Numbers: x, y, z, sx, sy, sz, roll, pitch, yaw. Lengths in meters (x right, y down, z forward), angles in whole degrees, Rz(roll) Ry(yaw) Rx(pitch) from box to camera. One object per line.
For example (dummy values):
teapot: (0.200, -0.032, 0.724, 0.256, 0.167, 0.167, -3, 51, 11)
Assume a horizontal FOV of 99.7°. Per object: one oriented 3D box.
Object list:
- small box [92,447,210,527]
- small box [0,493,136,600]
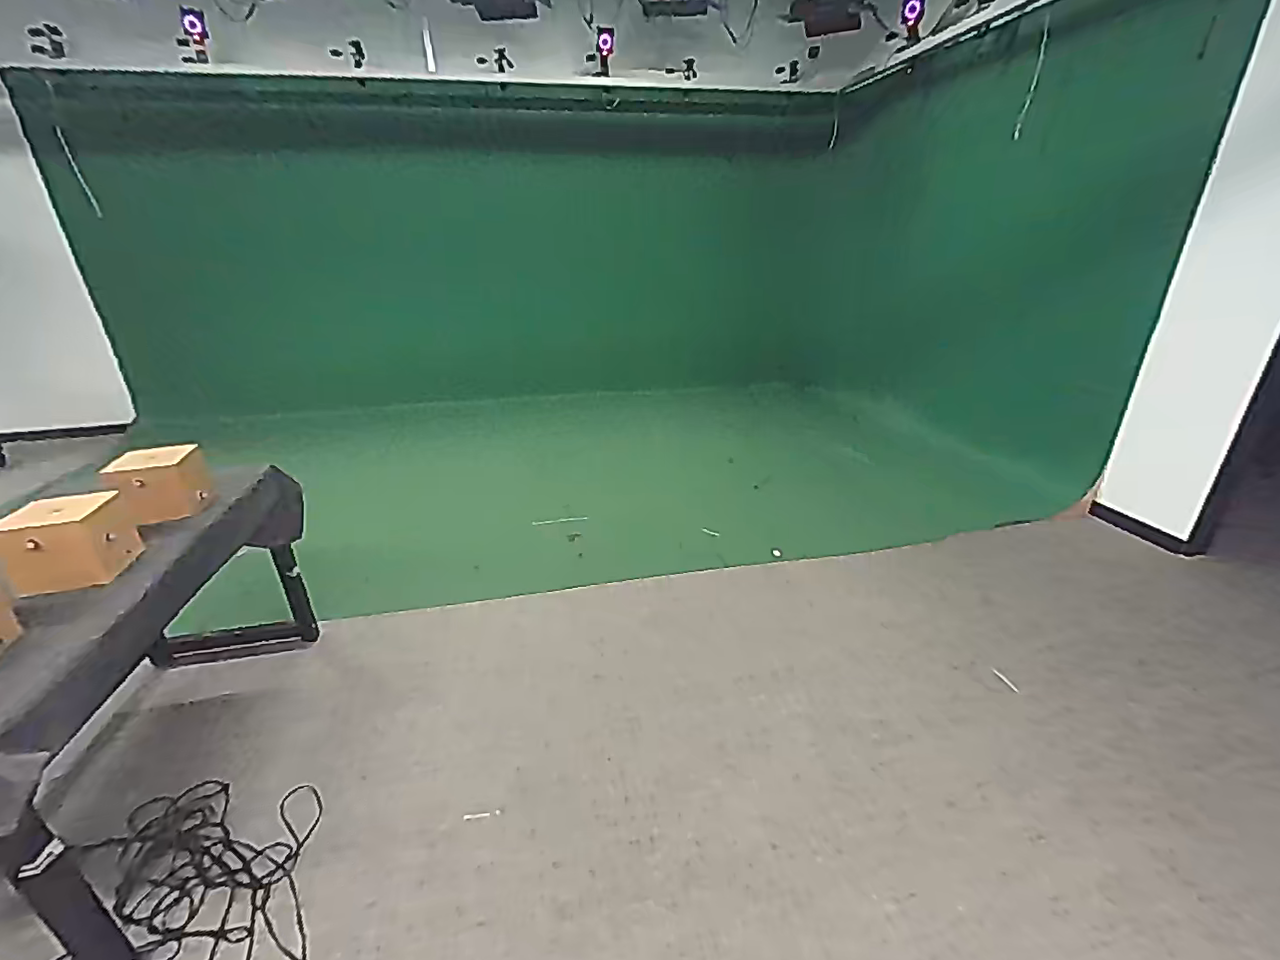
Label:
small box: (-1.371, 0.020, 1.532, 0.179, 0.176, 0.168, -8, 26, -17)
small box: (-1.318, 0.149, 1.237, 0.179, 0.176, 0.168, -9, 25, -15)
